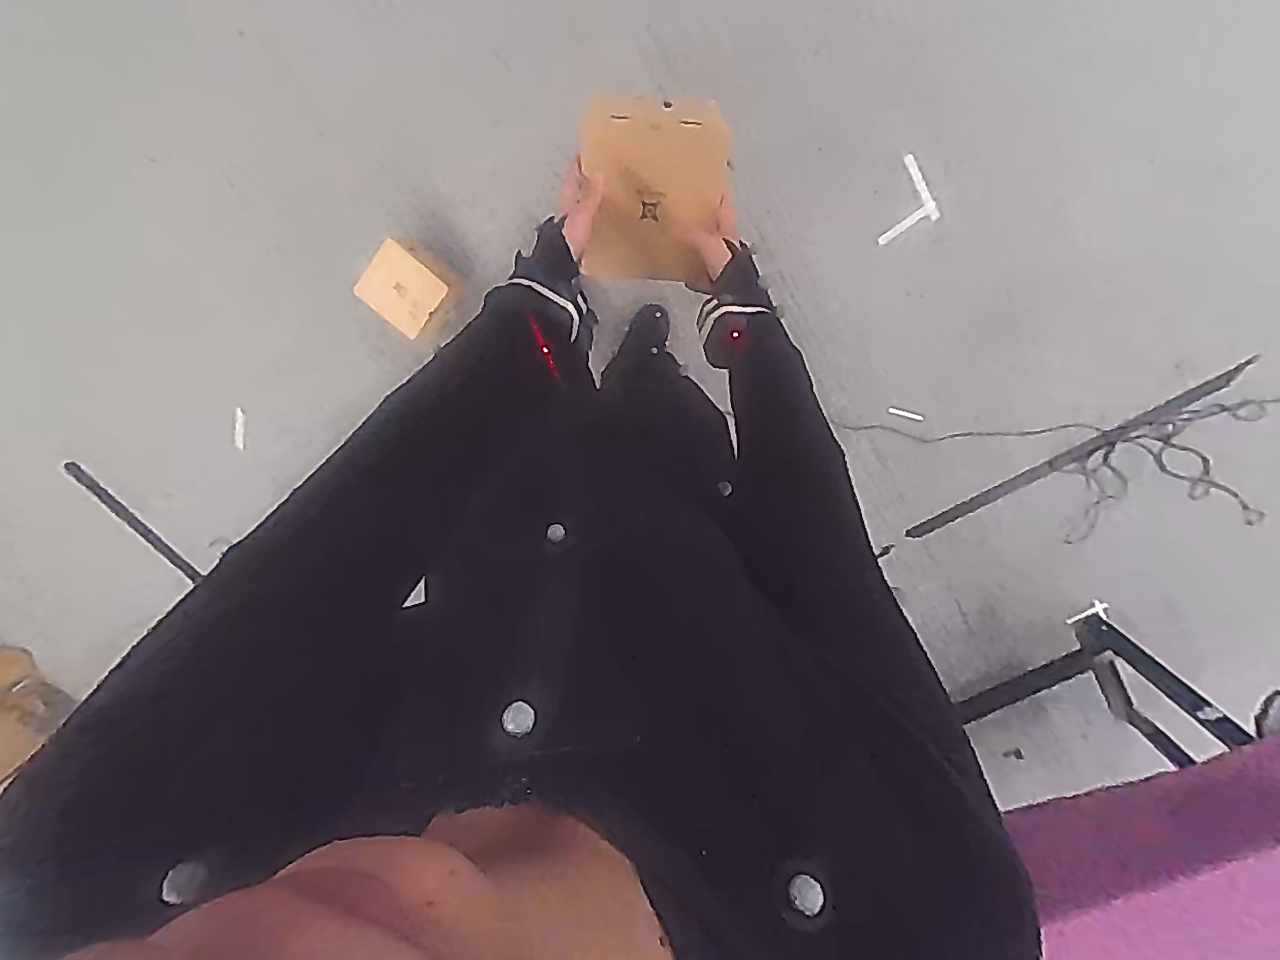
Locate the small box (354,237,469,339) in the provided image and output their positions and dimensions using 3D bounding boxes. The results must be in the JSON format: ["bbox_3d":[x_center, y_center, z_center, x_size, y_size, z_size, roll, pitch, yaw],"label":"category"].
[{"bbox_3d":[-0.565,-0.481,1.359,0.179,0.176,0.168,39,108,-15],"label":"small box"}]

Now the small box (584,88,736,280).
[{"bbox_3d":[0.020,-0.378,0.689,0.168,0.176,0.179,4,131,-1],"label":"small box"}]
